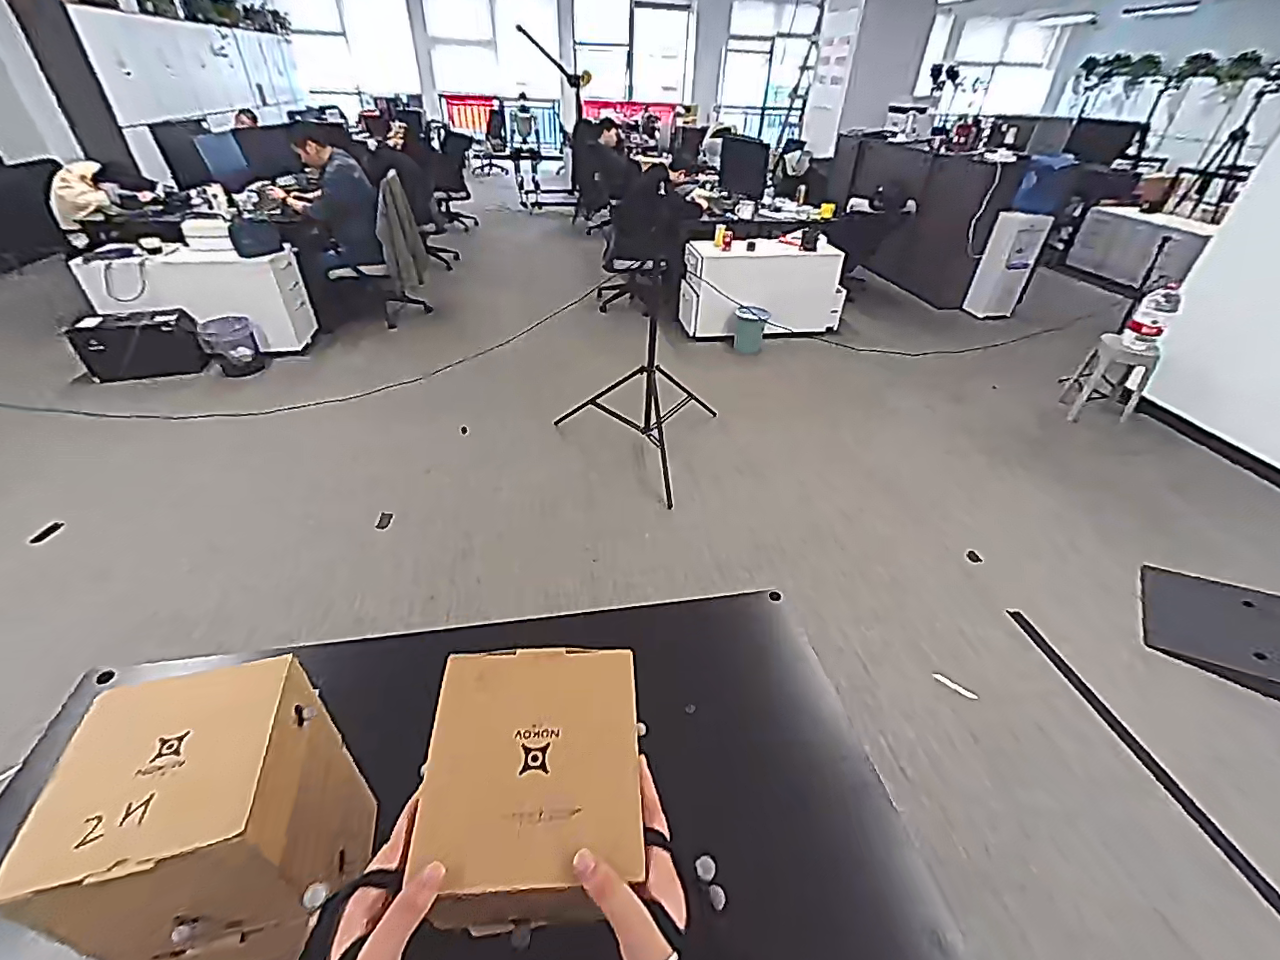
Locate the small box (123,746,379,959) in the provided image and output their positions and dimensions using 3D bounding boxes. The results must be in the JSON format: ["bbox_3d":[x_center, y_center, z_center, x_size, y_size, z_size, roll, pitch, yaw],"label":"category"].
[{"bbox_3d":[-0.412,0.443,0.615,0.168,0.176,0.179,-8,38,-12],"label":"small box"}]

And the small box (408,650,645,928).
[{"bbox_3d":[-0.087,0.274,0.486,0.168,0.176,0.179,0,44,-5],"label":"small box"}]

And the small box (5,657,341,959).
[{"bbox_3d":[-0.408,0.307,0.520,0.168,0.176,0.179,-9,38,-13],"label":"small box"}]
